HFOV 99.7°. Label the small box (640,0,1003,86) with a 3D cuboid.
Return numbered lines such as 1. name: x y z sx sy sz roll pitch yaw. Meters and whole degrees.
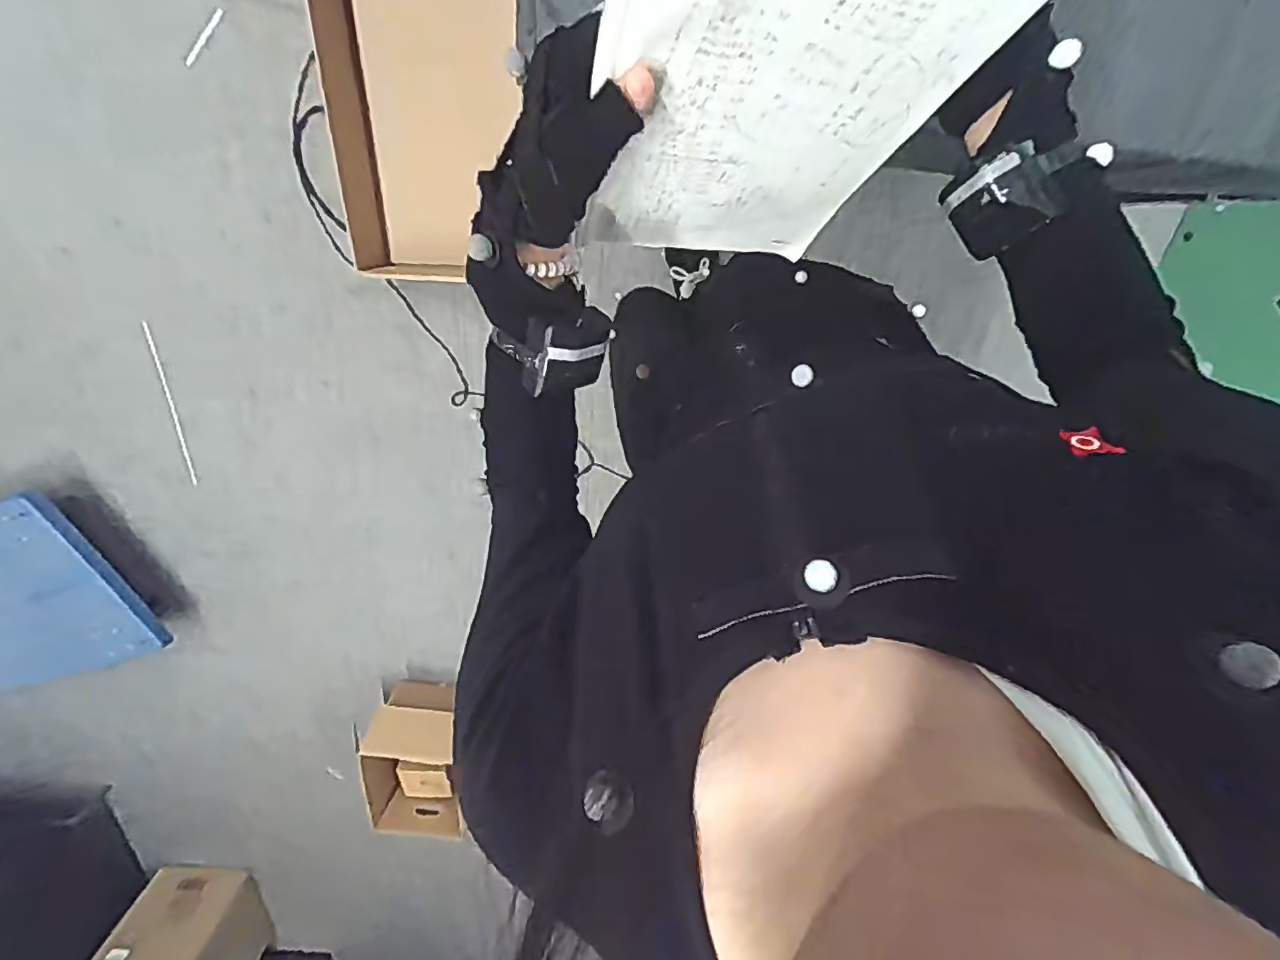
1. small box: 0.088 -0.340 0.302 0.179 0.176 0.168 -10 120 1
